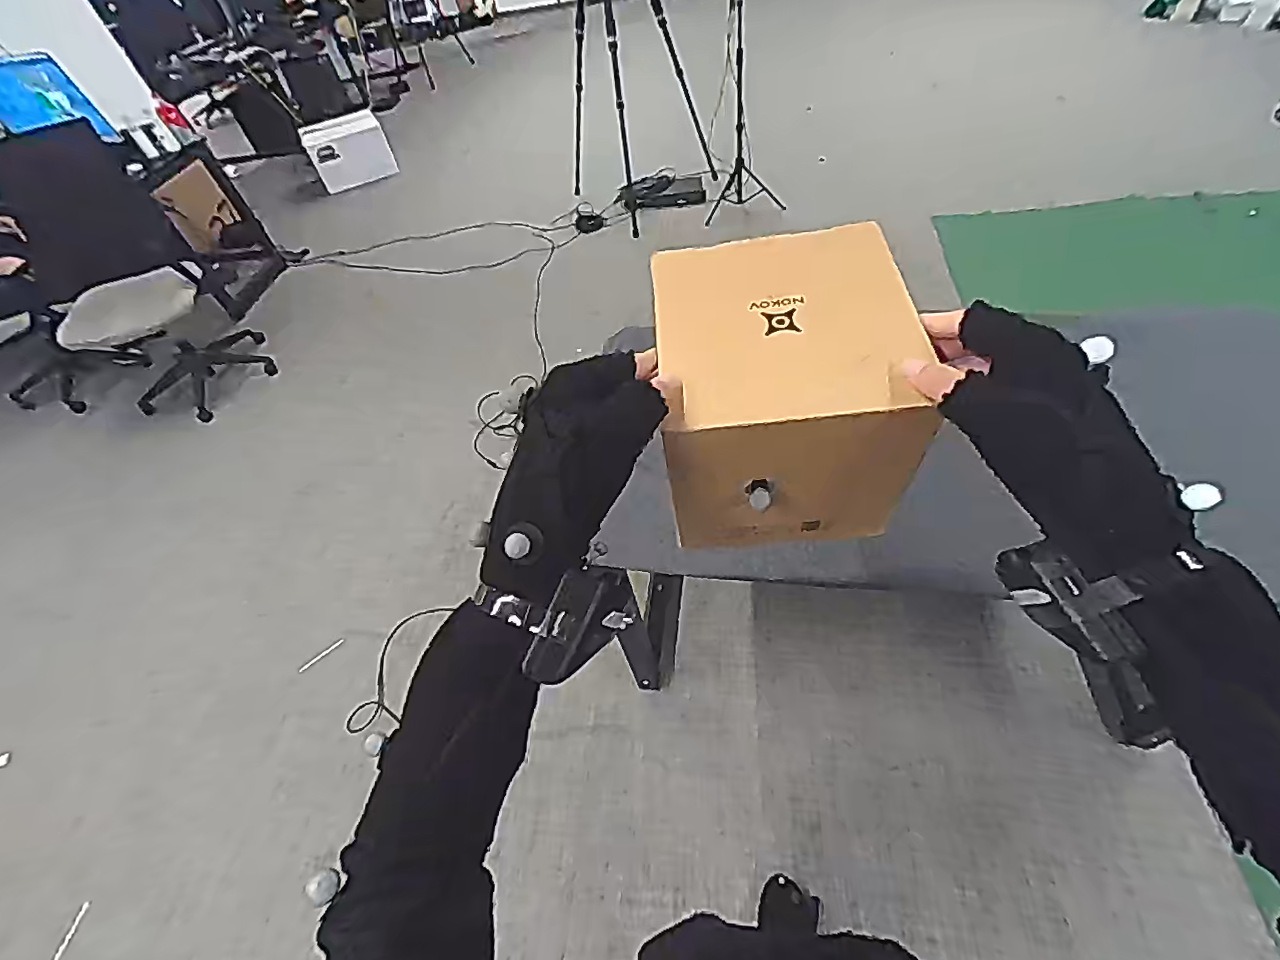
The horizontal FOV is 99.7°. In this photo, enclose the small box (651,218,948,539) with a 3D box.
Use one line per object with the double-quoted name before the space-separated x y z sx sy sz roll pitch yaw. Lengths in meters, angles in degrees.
"small box" 0.102 -0.064 0.416 0.168 0.176 0.179 -6 56 6
